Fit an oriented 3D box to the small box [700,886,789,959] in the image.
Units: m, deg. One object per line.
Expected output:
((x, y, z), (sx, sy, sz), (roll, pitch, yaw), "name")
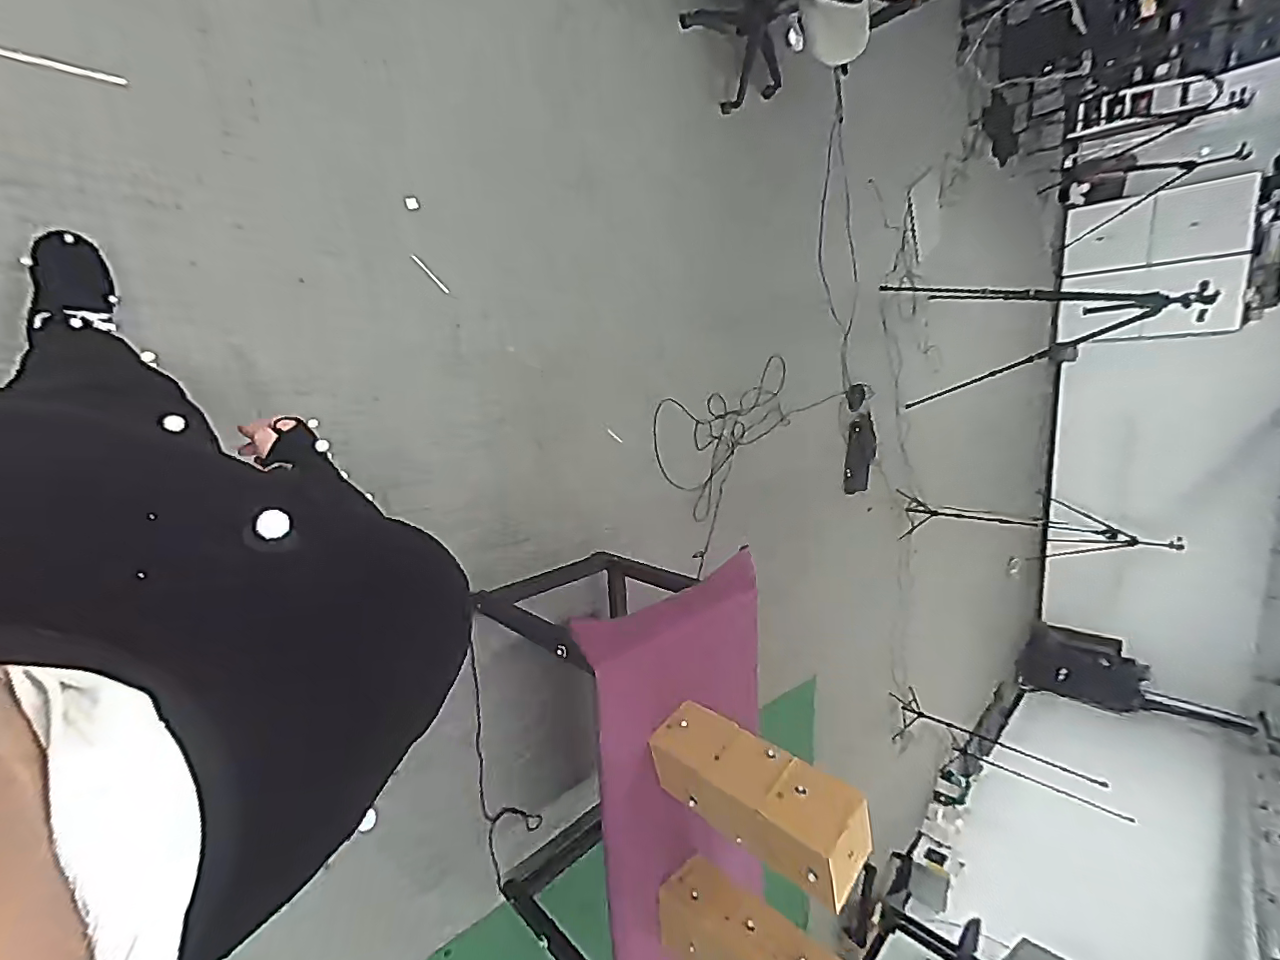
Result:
((0.267, 1.193, 1.383), (0.168, 0.176, 0.179), (-12, 102, -43), "small box")

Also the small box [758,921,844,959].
((0.385, 1.207, 1.269), (0.168, 0.176, 0.179), (-14, 104, -43), "small box")

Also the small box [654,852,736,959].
((0.149, 1.179, 1.496), (0.168, 0.176, 0.179), (-10, 102, -44), "small box")

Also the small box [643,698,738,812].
((0.132, 0.710, 1.417), (0.168, 0.176, 0.179), (-30, 116, -40), "small box")

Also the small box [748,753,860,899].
((0.359, 0.745, 1.185), (0.168, 0.176, 0.179), (-31, 117, -38), "small box")
